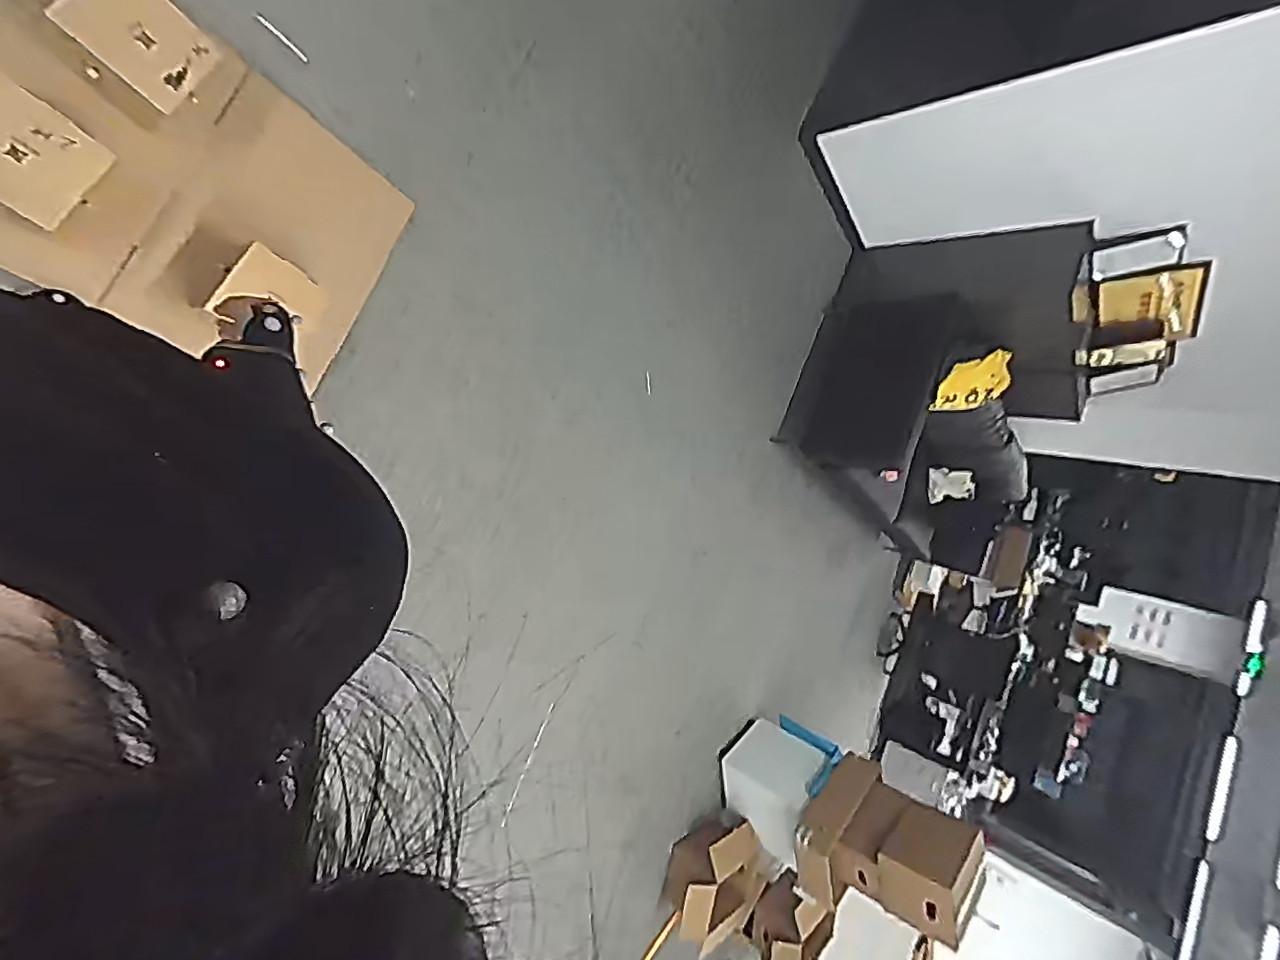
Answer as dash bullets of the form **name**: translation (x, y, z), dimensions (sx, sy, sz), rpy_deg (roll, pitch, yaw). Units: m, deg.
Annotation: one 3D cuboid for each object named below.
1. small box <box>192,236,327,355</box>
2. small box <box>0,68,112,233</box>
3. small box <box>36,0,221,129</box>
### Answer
- **small box**: translation (-0.822, -0.389, 1.163), dimensions (0.168, 0.176, 0.179), rpy_deg (40, 71, -45)
- **small box**: translation (-1.034, -0.539, 0.898), dimensions (0.168, 0.176, 0.179), rpy_deg (41, 71, -45)
- **small box**: translation (-0.908, -0.776, 0.966), dimensions (0.179, 0.176, 0.168), rpy_deg (42, 70, -44)
